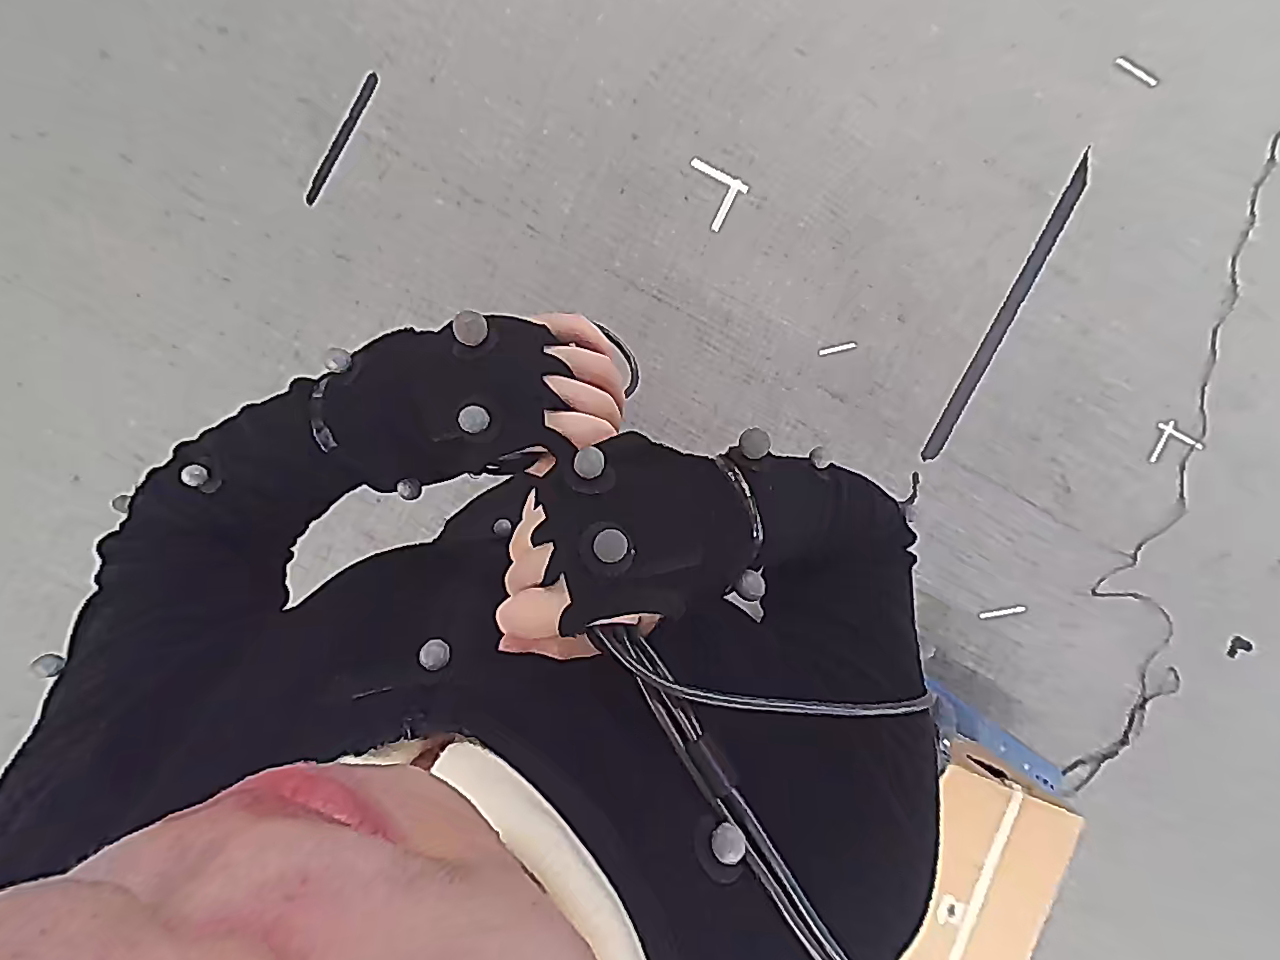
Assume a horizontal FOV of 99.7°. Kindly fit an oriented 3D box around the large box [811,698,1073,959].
[{"bbox_3d":[0.647,0.782,1.219,0.320,0.320,0.408,23,89,-3],"label":"large box"}]
